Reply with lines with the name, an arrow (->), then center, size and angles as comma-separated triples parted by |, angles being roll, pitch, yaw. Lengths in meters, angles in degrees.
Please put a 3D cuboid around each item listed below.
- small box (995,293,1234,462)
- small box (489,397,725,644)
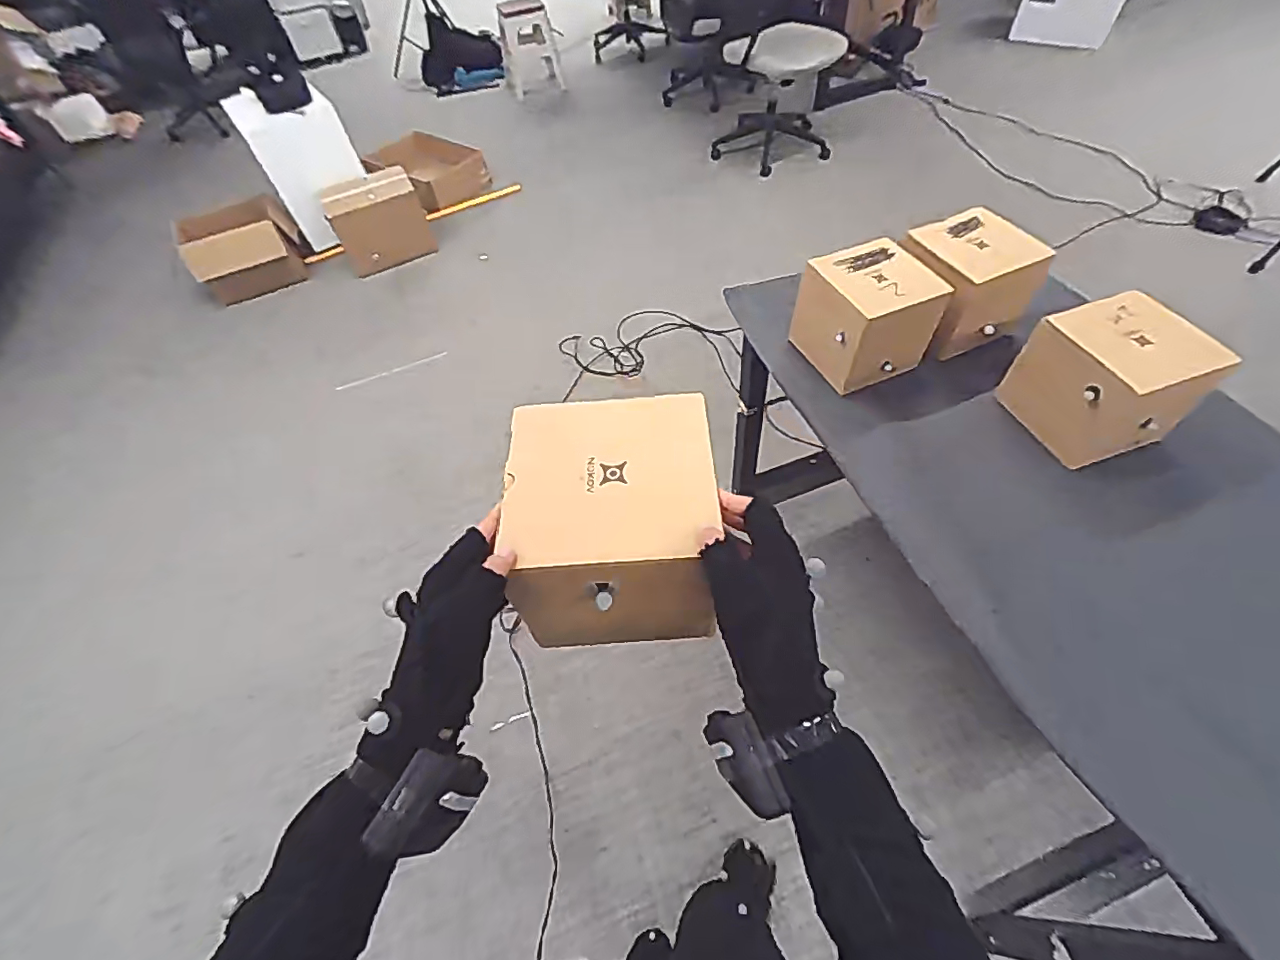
small box -> 0.696, -0.147, 0.822 | 0.168, 0.176, 0.179 | -17, 54, -7
small box -> -0.021, 0.044, 0.505 | 0.179, 0.176, 0.168 | -4, 53, 3
